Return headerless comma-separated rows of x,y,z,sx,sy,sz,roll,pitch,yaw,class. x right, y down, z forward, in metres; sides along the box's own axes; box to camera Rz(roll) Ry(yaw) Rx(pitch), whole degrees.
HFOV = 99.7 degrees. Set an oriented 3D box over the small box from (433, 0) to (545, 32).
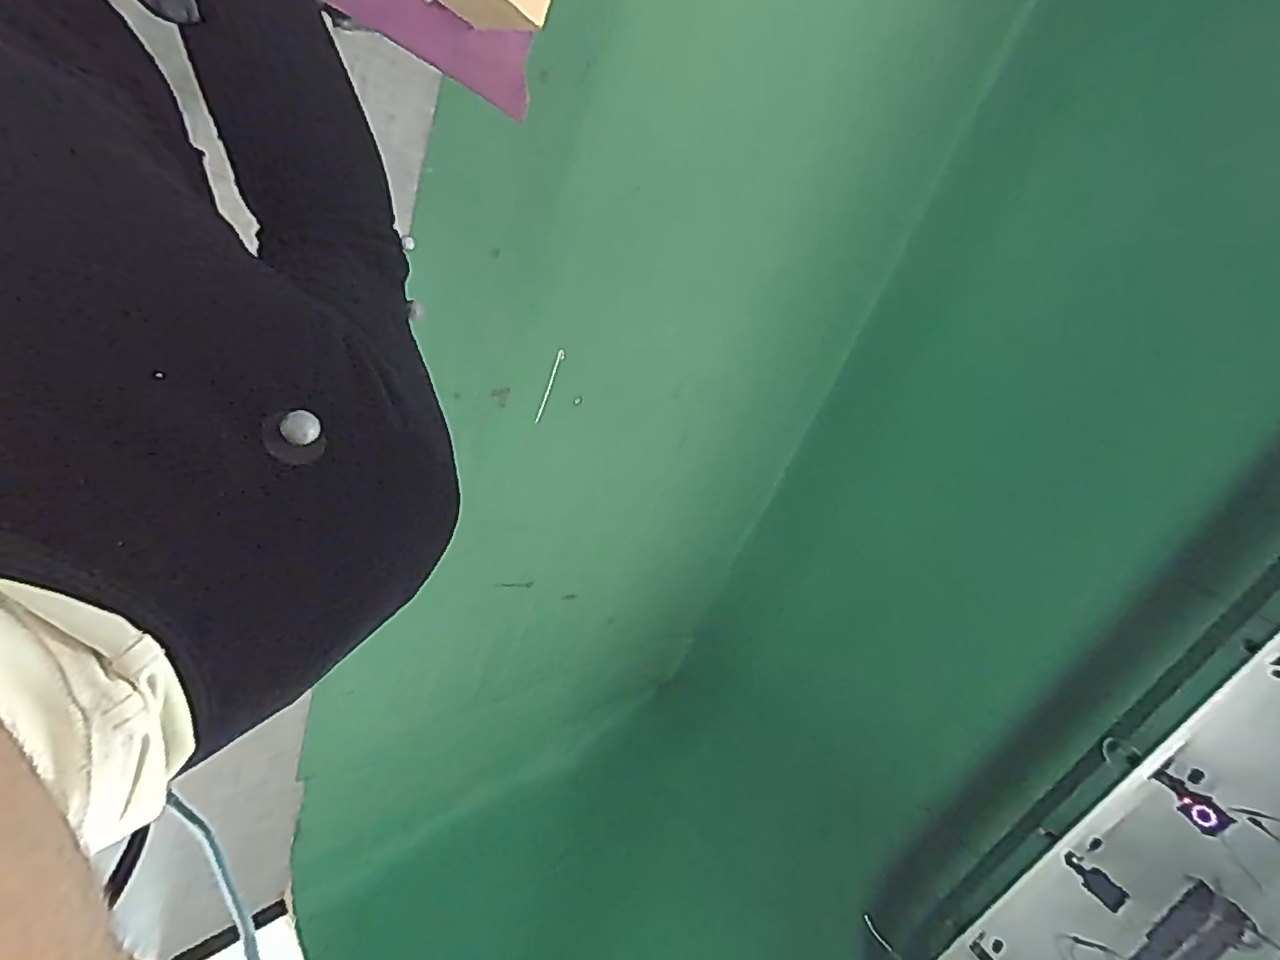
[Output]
-0.204,-0.657,0.612,0.179,0.176,0.168,0,119,-50,small box
